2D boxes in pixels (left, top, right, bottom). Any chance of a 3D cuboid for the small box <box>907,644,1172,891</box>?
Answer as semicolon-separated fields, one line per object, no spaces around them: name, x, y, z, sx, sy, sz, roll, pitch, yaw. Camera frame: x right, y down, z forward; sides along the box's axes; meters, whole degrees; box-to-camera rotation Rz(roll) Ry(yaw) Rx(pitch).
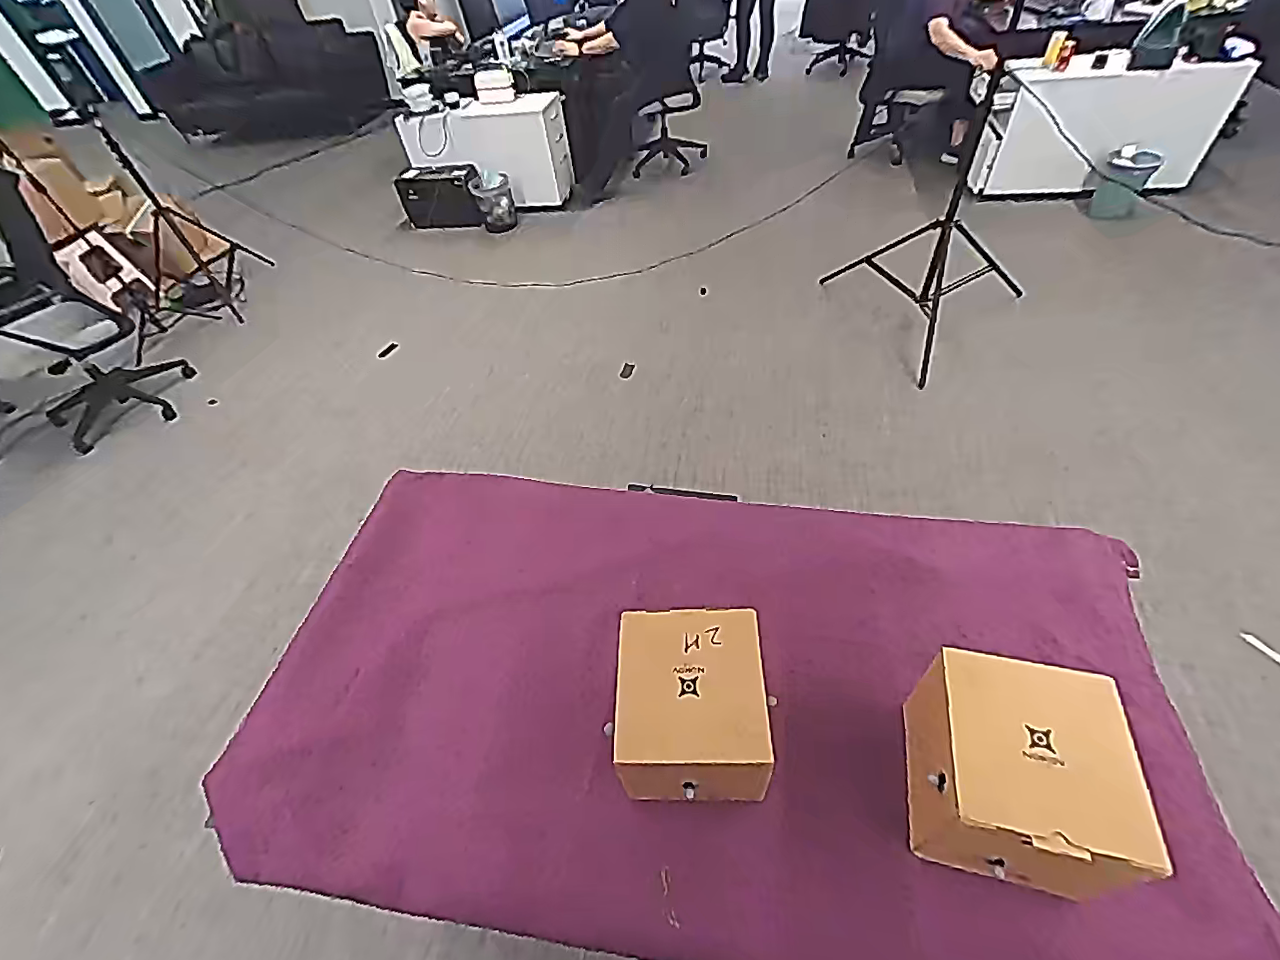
small box;0.400;0.310;0.587;0.168;0.176;0.179;7;48;15

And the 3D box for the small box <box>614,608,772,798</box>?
small box;0.065;0.277;0.664;0.168;0.176;0.179;-2;48;5
